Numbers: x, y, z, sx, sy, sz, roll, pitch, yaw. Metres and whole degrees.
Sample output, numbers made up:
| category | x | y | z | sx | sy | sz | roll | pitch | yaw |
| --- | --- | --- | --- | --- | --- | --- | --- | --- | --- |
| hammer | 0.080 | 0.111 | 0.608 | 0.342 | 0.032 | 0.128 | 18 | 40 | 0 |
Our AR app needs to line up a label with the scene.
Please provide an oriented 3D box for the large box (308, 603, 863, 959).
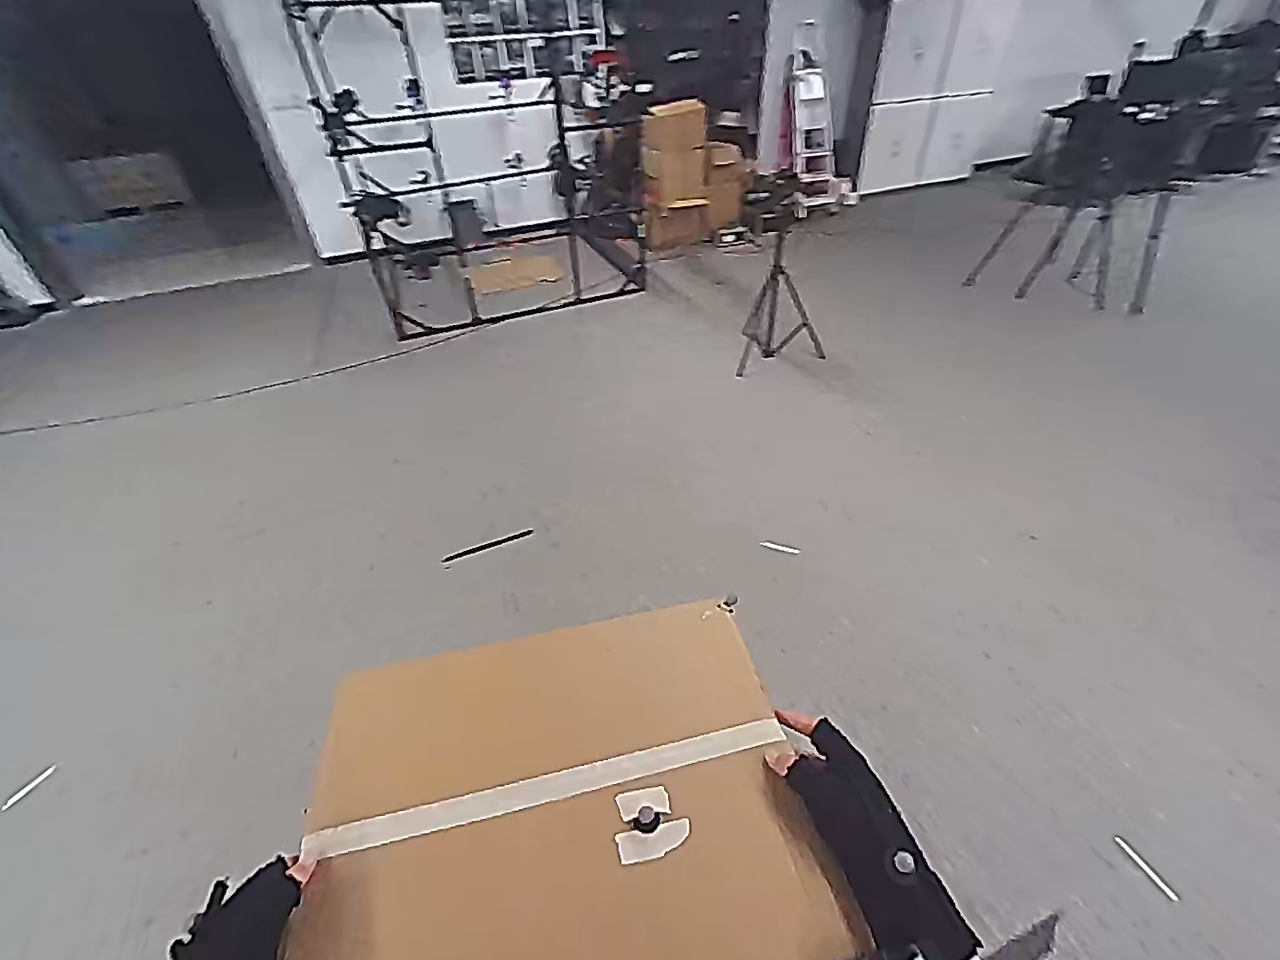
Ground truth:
| category | x | y | z | sx | sy | sz | roll | pitch | yaw |
| --- | --- | --- | --- | --- | --- | --- | --- | --- | --- |
| large box | -0.059 | 0.378 | 0.568 | 0.408 | 0.320 | 0.320 | -8 | 40 | -9 |
